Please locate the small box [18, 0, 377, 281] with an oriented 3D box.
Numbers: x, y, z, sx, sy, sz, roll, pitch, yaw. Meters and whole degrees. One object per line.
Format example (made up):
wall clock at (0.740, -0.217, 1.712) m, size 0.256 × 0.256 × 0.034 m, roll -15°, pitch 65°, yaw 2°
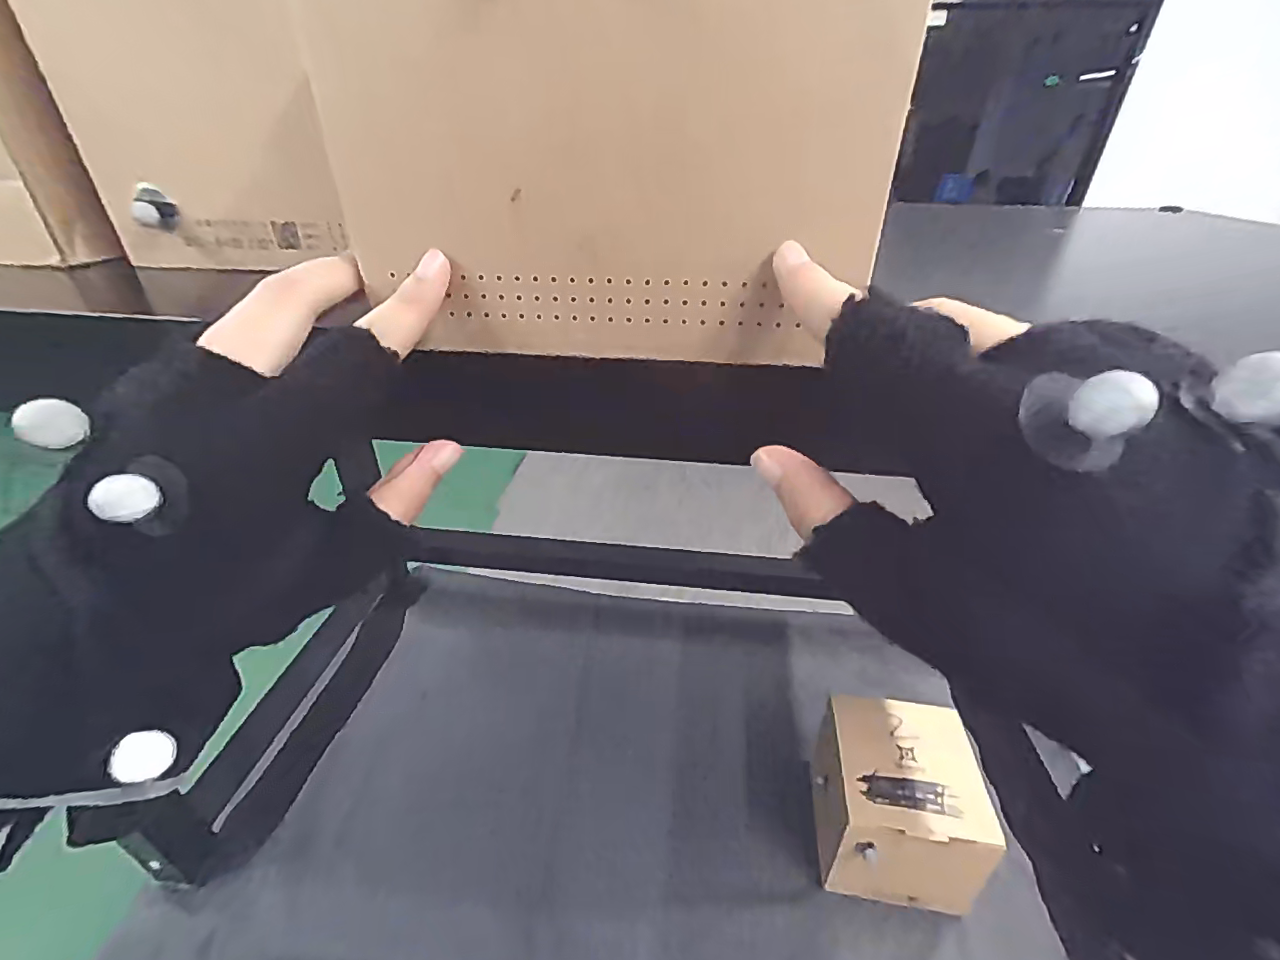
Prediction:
small box at (-0.210, -0.231, 0.347) m, size 0.168 × 0.176 × 0.179 m, roll 4°, pitch 32°, yaw 4°
